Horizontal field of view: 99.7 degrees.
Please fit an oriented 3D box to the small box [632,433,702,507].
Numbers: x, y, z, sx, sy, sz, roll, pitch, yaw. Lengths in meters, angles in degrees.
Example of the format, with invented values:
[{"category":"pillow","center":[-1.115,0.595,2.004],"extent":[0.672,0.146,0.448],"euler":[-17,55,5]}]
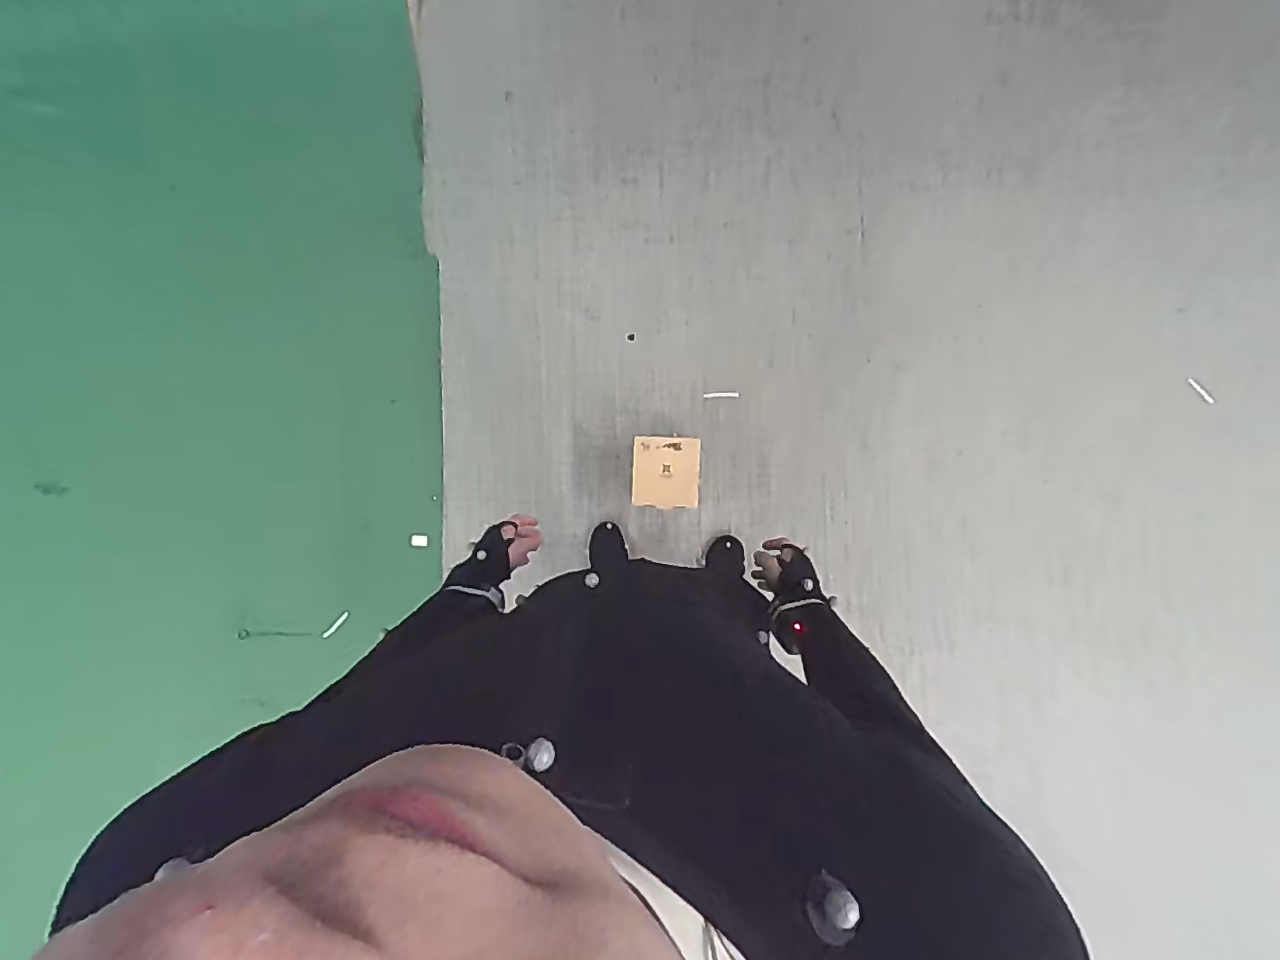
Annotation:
[{"category":"small box","center":[0.071,-0.026,1.415],"extent":[0.168,0.176,0.179],"euler":[3,90,3]}]
